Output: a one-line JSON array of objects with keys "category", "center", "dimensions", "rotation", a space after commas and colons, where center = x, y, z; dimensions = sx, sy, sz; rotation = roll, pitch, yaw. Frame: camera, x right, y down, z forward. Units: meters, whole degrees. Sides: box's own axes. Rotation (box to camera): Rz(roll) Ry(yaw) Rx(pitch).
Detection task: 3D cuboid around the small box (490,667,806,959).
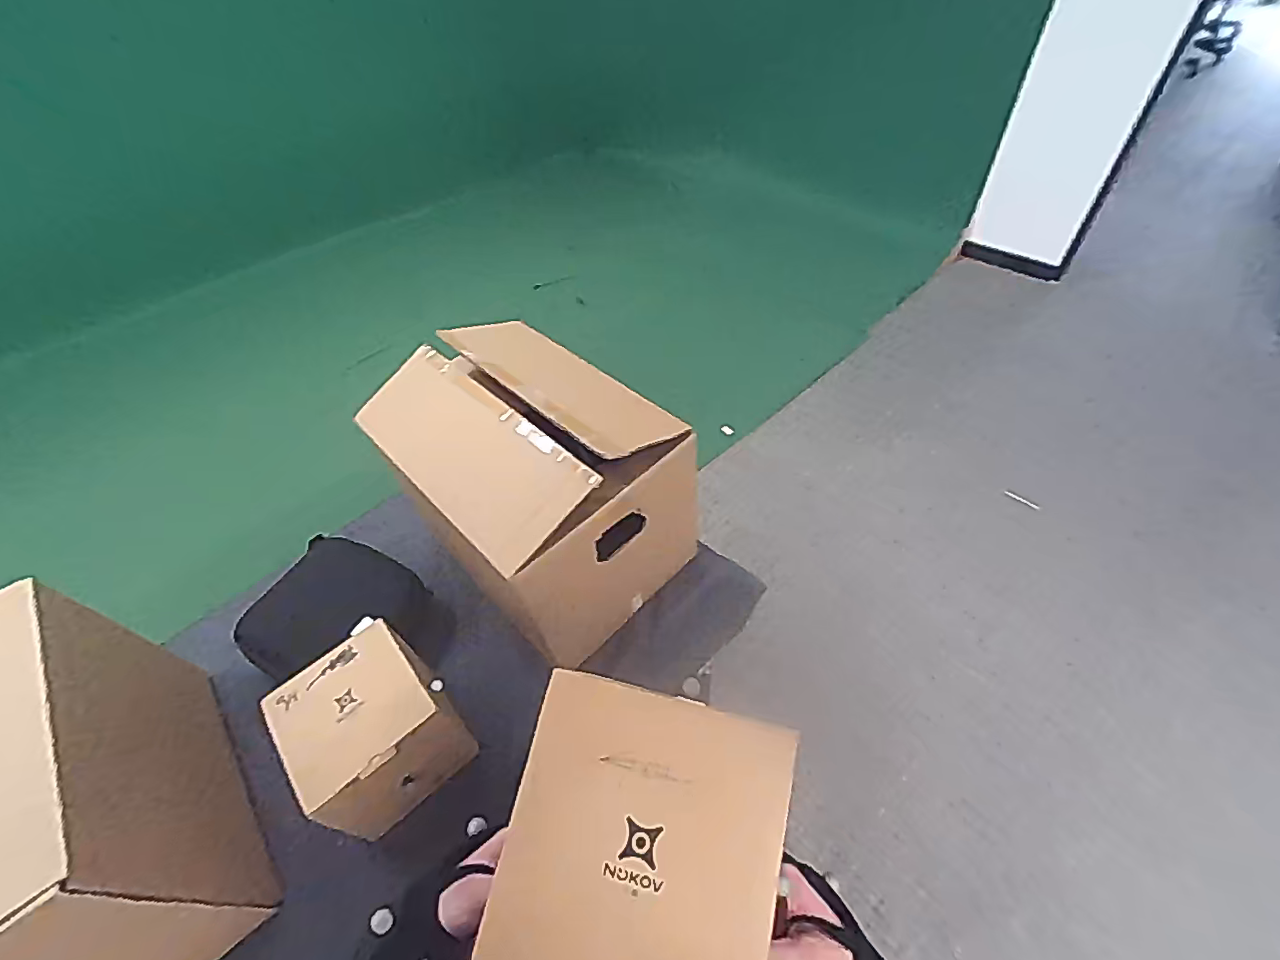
[{"category": "small box", "center": [0.015, 0.251, 0.407], "dimensions": [0.168, 0.176, 0.179], "rotation": [11, 70, 8]}]
